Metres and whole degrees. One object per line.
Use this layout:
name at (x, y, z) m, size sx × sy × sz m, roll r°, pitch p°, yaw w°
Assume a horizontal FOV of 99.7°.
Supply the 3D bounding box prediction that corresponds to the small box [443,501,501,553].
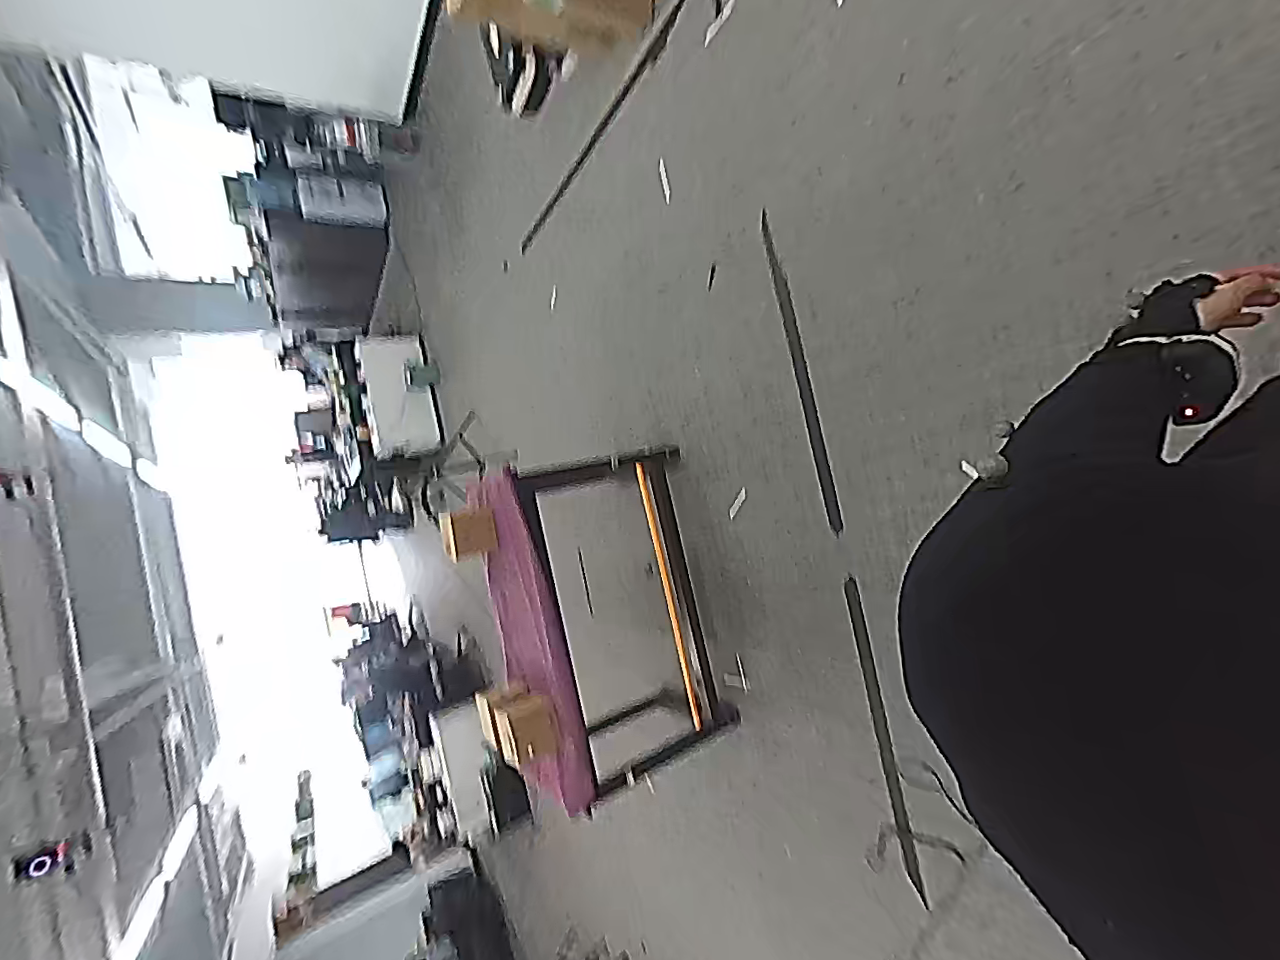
small box at (-0.666, 0.183, 2.150) m, size 0.168 × 0.176 × 0.179 m, roll -5°, pitch 95°, yaw 56°

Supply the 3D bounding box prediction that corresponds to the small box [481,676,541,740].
small box at (-0.512, 0.896, 2.146) m, size 0.168 × 0.176 × 0.179 m, roll -22°, pitch 81°, yaw 57°
